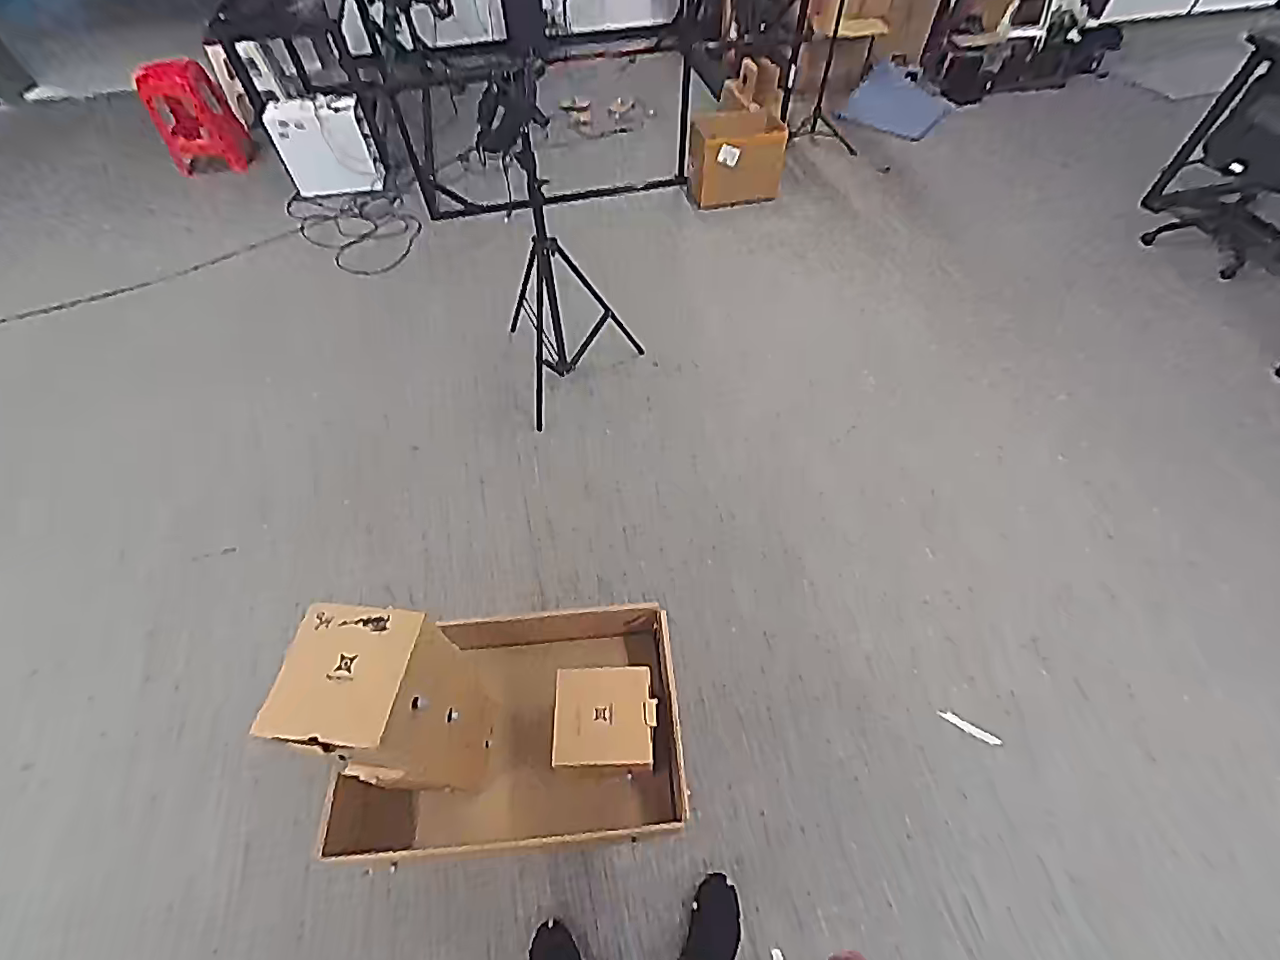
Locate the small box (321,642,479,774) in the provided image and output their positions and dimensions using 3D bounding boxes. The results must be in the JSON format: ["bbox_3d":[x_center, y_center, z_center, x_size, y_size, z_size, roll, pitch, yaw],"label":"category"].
[{"bbox_3d":[-0.380,0.379,0.898,0.168,0.176,0.179,2,54,2],"label":"small box"}]

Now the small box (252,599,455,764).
[{"bbox_3d":[-0.381,0.288,0.760,0.168,0.176,0.179,5,55,4],"label":"small box"}]
